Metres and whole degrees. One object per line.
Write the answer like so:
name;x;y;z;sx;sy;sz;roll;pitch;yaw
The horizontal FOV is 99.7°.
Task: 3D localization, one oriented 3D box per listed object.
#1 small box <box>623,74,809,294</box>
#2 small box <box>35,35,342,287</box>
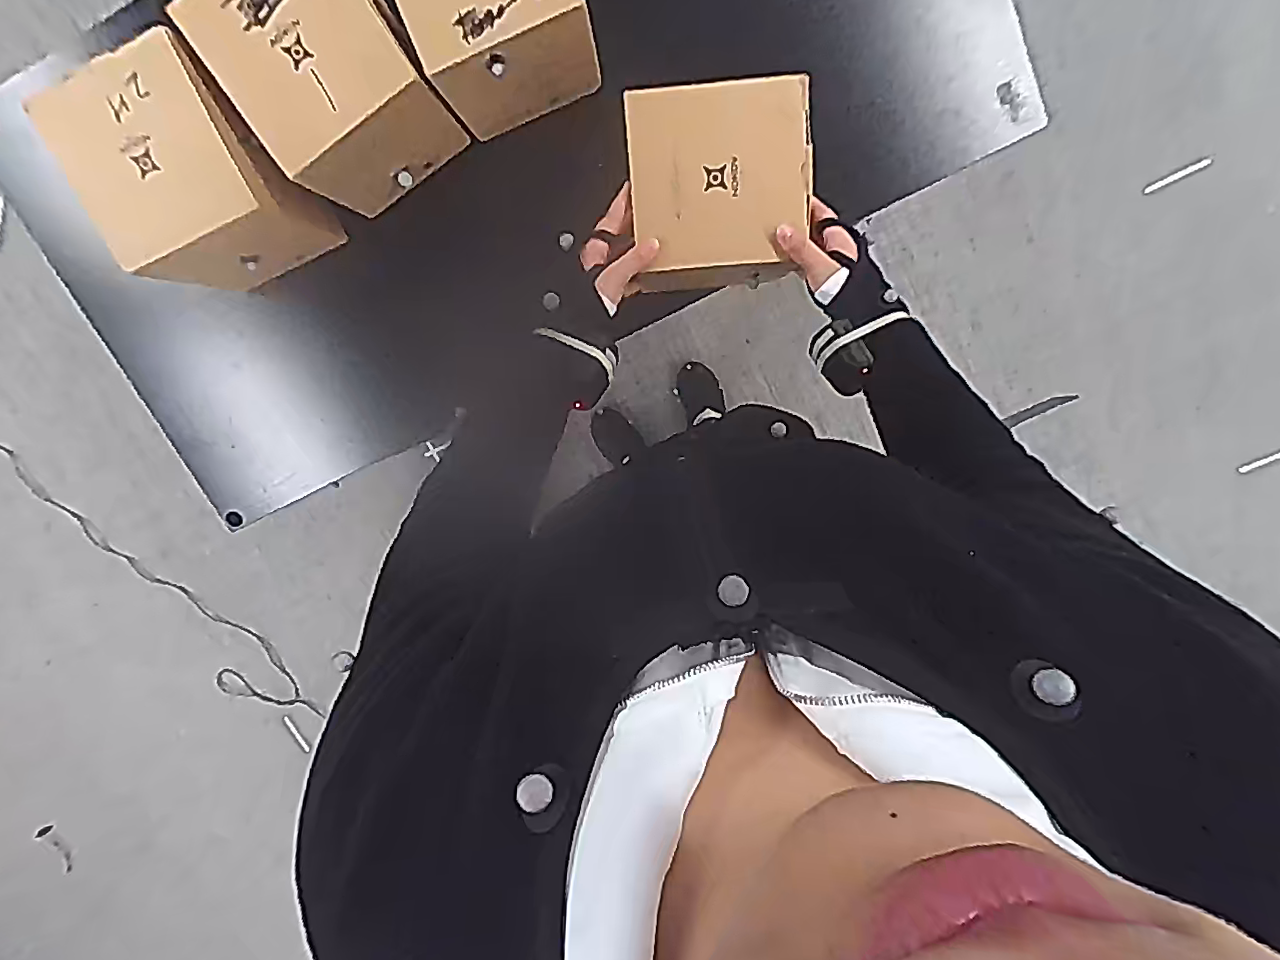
small box;0.079;-0.311;0.604;0.179;0.176;0.168;-5;100;4
small box;-0.485;-0.335;0.616;0.168;0.176;0.179;-23;101;6
